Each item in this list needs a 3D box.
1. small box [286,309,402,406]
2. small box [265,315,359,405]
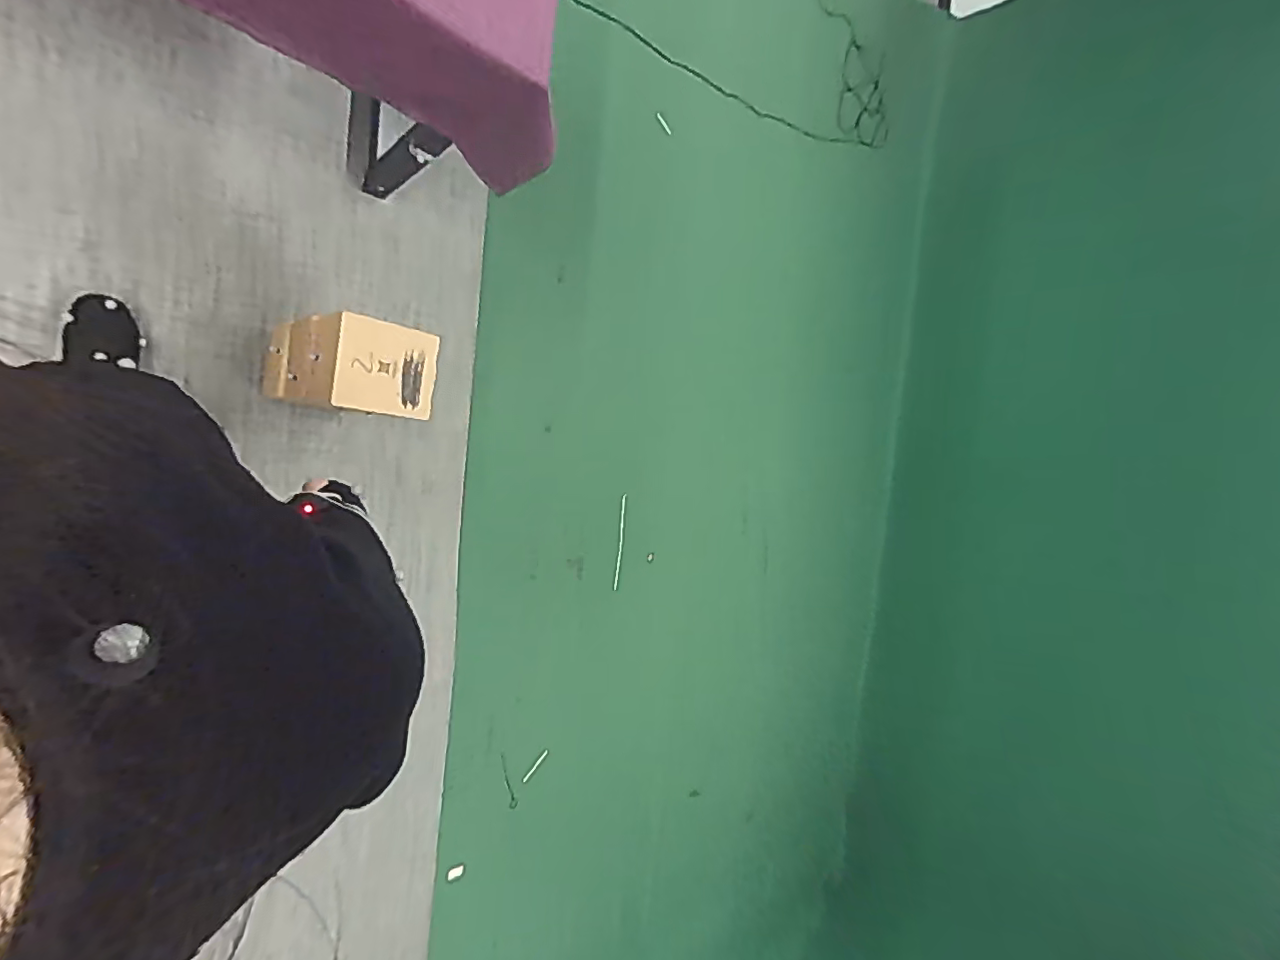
[{"bbox_3d":[-0.635,-0.252,1.154,0.179,0.176,0.168,4,94,-46],"label":"small box"},{"bbox_3d":[-0.754,-0.271,1.264,0.179,0.176,0.168,8,91,-45],"label":"small box"}]
